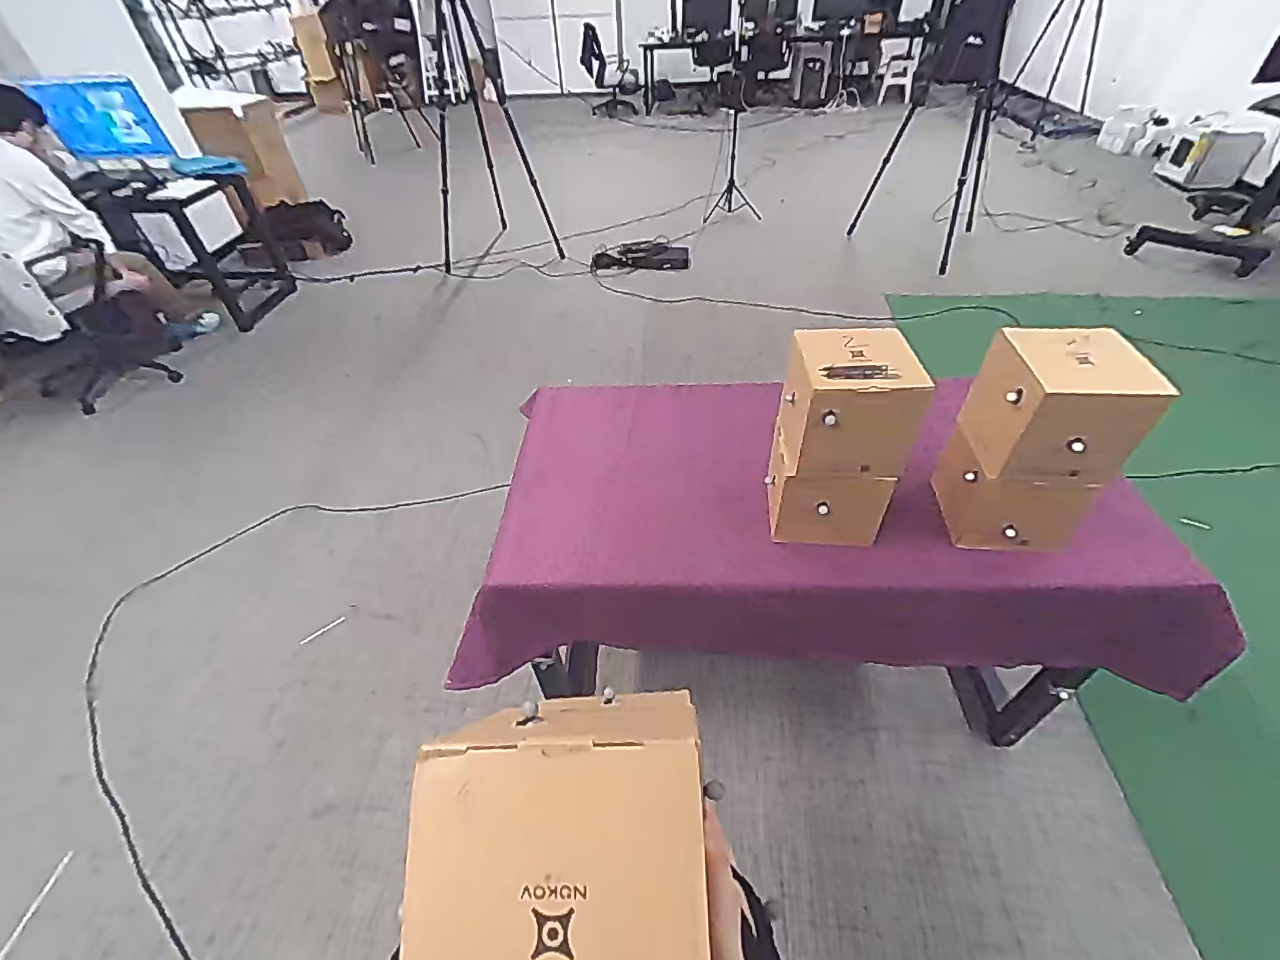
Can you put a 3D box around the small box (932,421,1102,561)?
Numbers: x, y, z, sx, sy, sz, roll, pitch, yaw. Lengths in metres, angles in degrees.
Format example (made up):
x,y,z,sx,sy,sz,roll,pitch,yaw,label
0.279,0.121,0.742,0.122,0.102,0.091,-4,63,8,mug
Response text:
x,y,z,sx,sy,sz,roll,pitch,yaw,label
0.641,0.018,0.950,0.168,0.176,0.179,3,44,7,small box

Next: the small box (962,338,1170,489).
x,y,z,sx,sy,sz,roll,pitch,yaw,label
0.635,-0.102,0.837,0.168,0.176,0.179,3,44,6,small box

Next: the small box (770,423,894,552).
x,y,z,sx,sy,sz,roll,pitch,yaw,label
0.330,0.014,0.973,0.179,0.176,0.168,2,43,7,small box

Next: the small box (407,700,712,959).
x,y,z,sx,sy,sz,roll,pitch,yaw,label
-0.038,0.250,0.371,0.168,0.176,0.179,-3,74,4,small box
